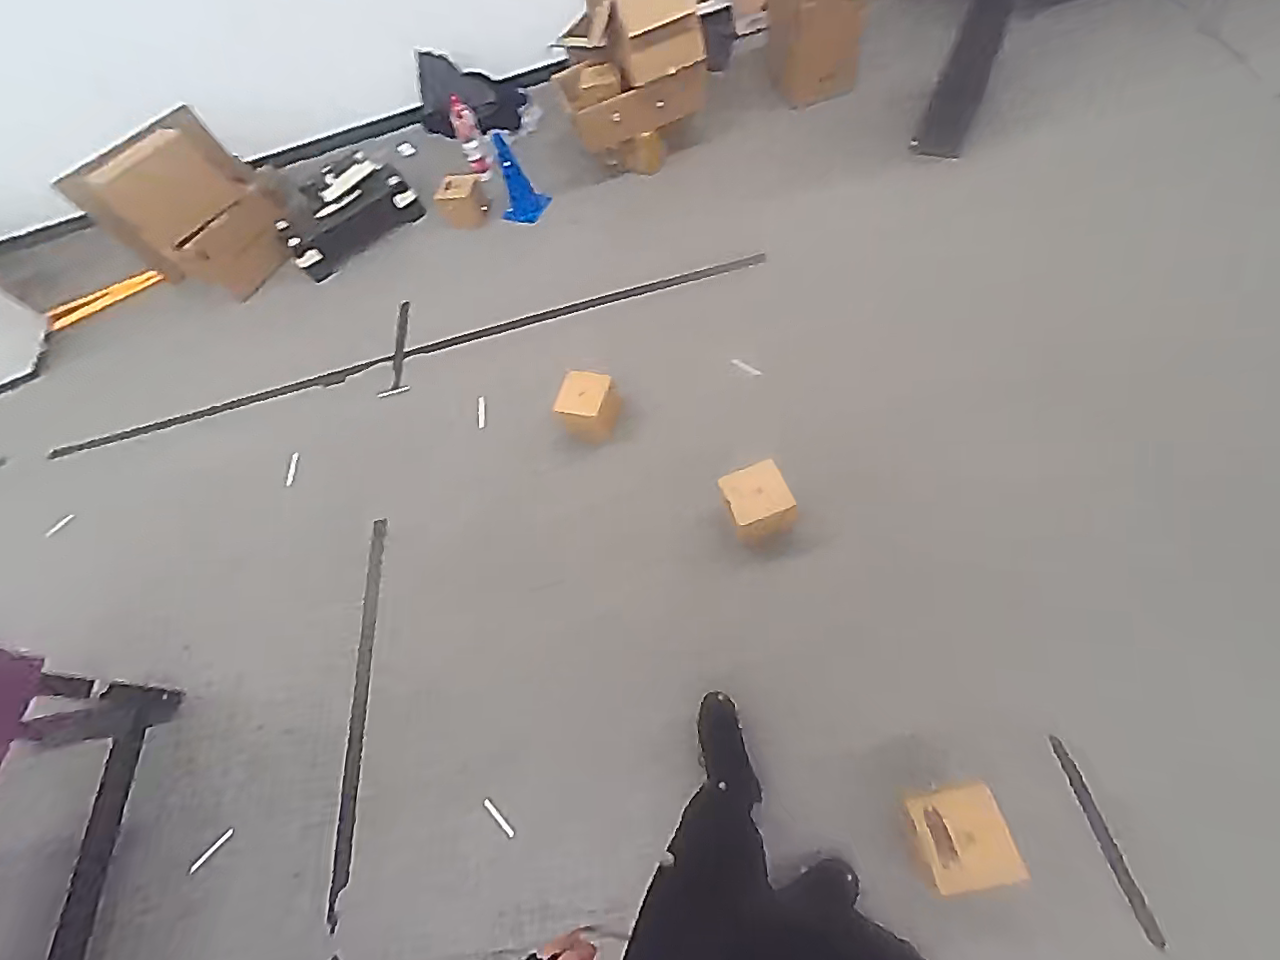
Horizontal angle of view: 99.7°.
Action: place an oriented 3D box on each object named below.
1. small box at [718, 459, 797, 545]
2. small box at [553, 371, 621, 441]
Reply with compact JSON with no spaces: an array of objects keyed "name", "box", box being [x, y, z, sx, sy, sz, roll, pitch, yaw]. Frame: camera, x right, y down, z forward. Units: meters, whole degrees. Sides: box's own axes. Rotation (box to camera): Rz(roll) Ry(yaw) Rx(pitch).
[{"name":"small box","box":[0.346,0.071,1.605,0.179,0.176,0.168,-22,60,1]},{"name":"small box","box":[-0.178,-0.256,1.900,0.168,0.176,0.179,11,65,18]}]
